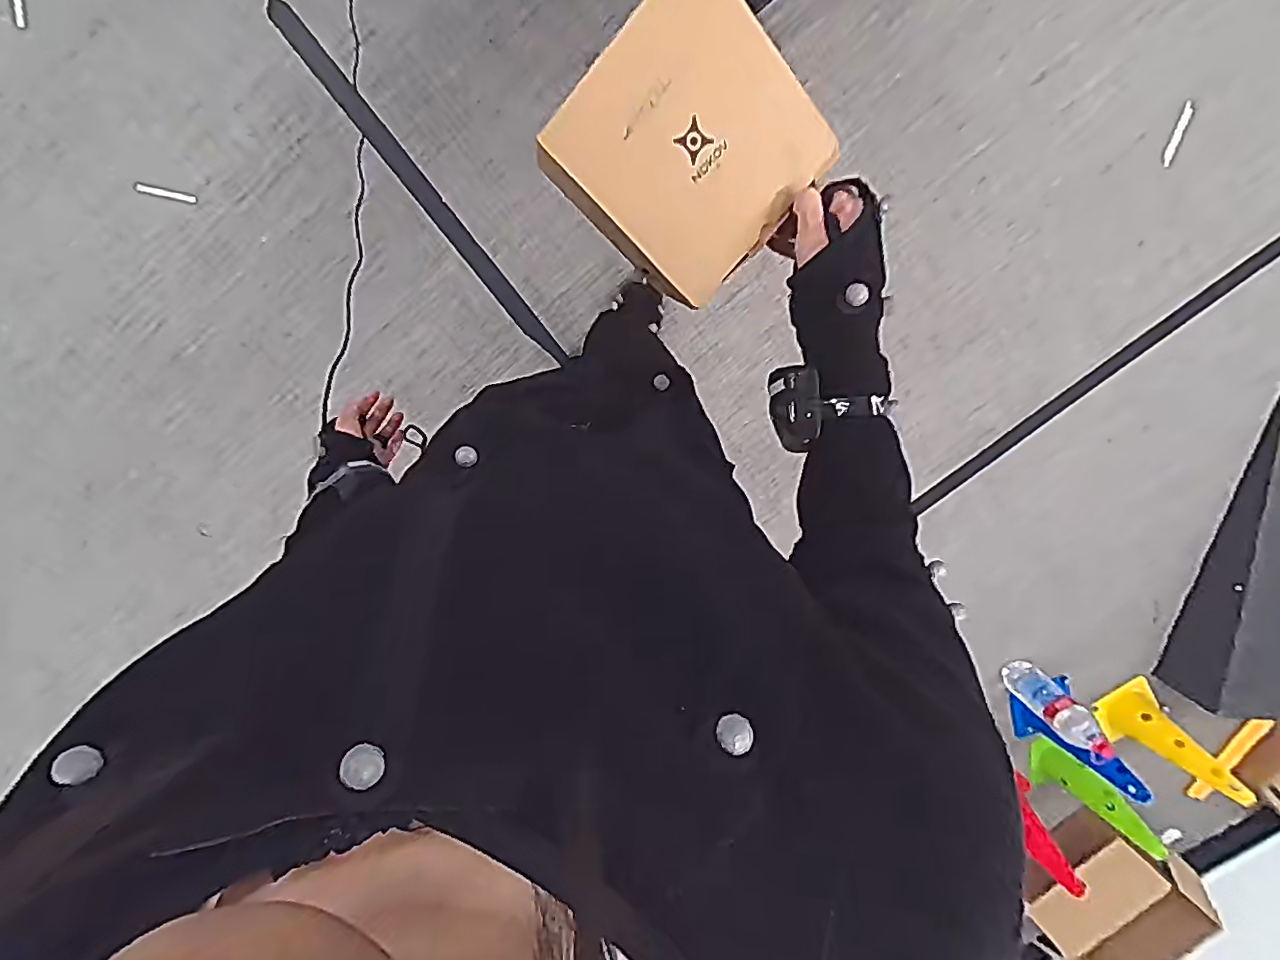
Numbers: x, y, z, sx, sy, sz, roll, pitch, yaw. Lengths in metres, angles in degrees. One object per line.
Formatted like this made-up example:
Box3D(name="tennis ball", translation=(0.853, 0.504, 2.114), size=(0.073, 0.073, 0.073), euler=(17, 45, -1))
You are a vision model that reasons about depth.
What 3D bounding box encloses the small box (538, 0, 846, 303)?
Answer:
Box3D(name="small box", translation=(0.031, -0.283, 0.465), size=(0.179, 0.176, 0.168), euler=(38, 102, -24))
